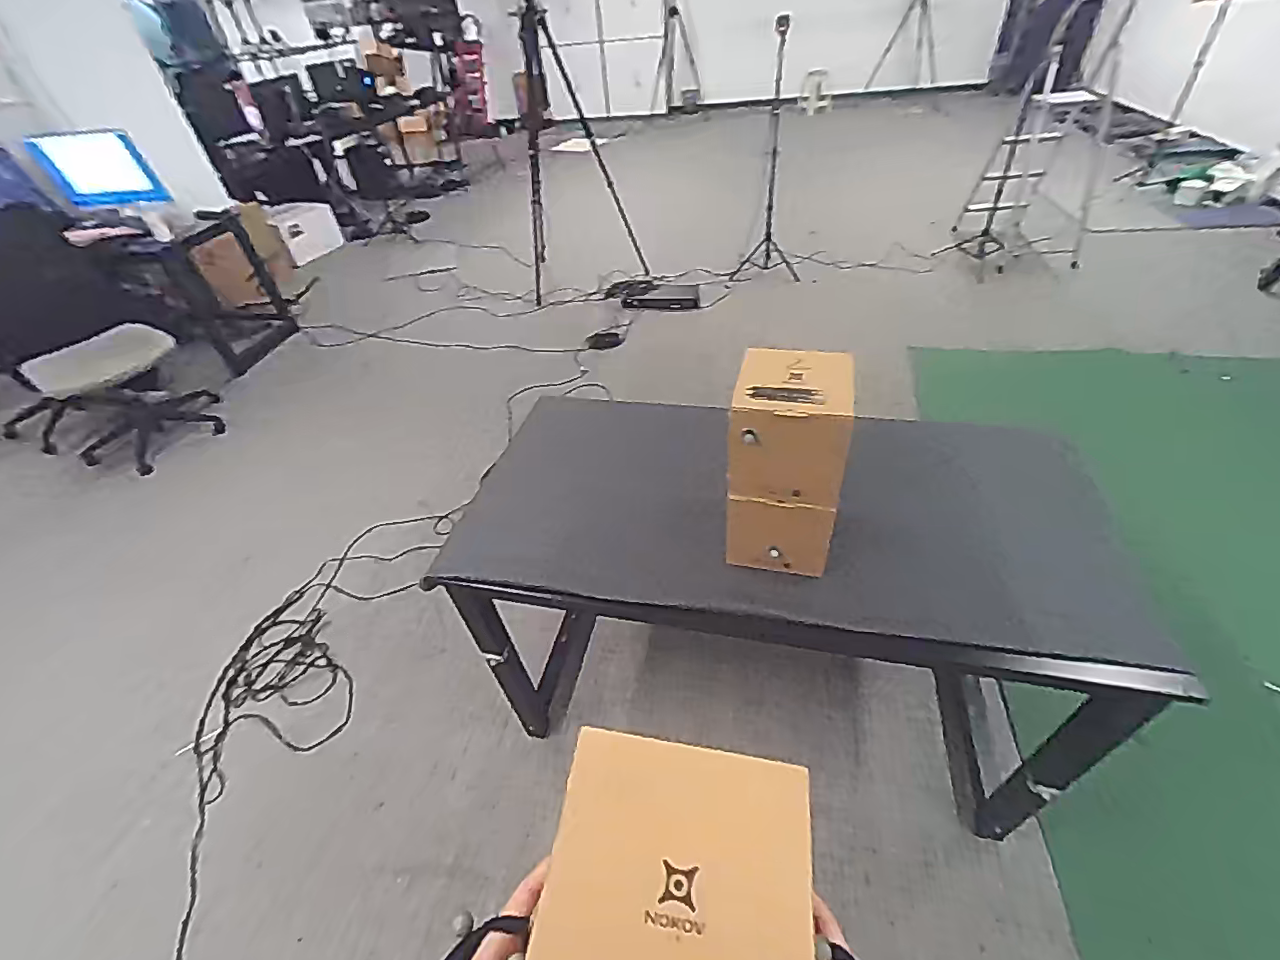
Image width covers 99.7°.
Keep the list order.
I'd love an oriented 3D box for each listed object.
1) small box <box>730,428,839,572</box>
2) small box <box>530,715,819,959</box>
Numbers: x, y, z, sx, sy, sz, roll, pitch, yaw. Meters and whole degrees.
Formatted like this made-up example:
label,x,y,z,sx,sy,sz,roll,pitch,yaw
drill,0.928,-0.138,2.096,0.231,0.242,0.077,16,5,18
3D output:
label,x,y,z,sx,sy,sz,roll,pitch,yaw
small box,0.250,0.033,0.948,0.168,0.176,0.179,6,43,15
small box,0.023,0.299,0.390,0.168,0.176,0.179,6,47,5
